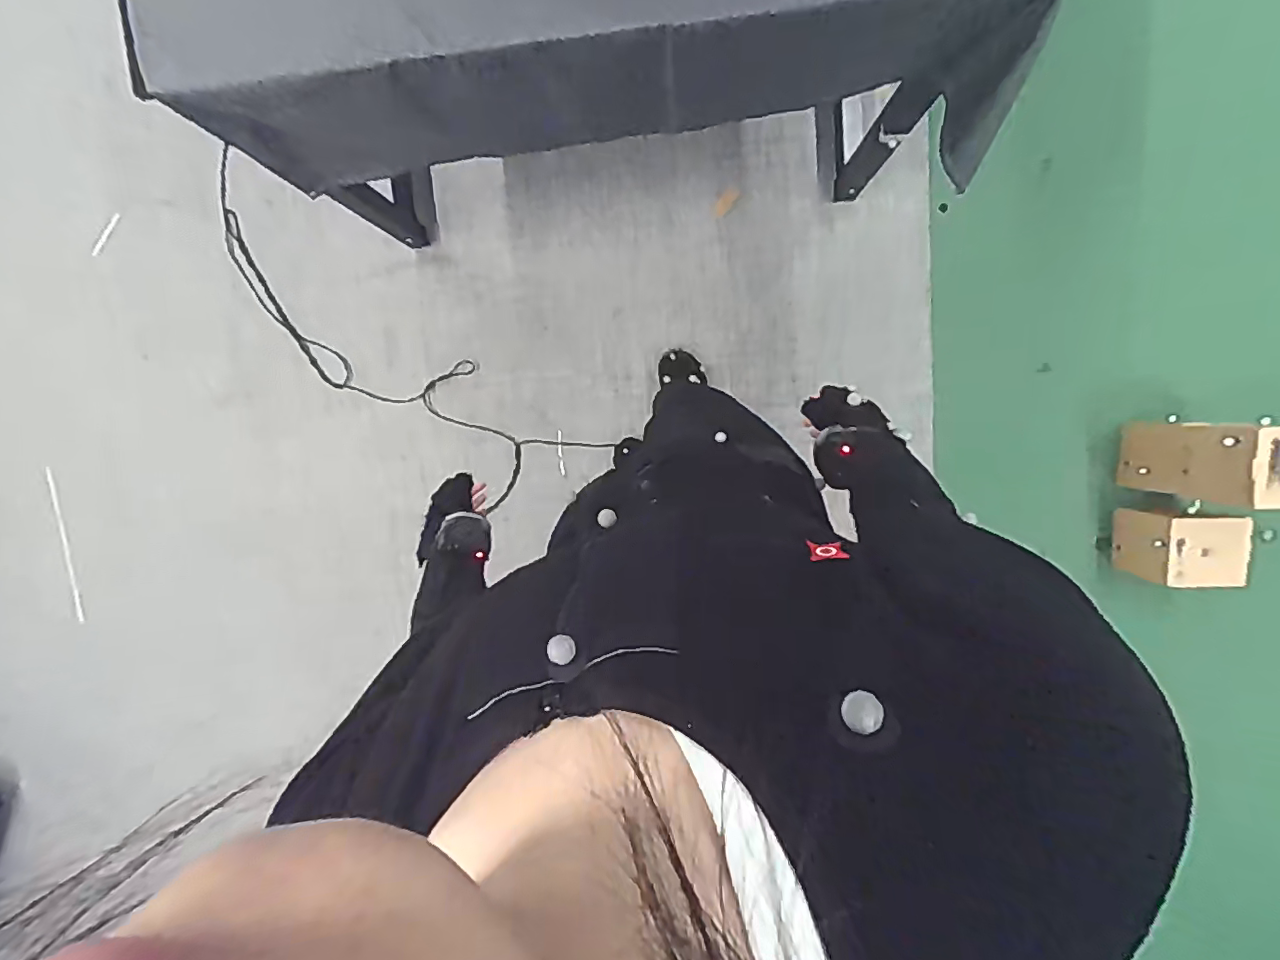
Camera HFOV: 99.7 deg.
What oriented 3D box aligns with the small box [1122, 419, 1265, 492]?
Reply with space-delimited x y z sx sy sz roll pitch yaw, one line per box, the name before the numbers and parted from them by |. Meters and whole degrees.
small box | 1.322 -0.063 1.307 0.179 0.176 0.168 0 97 4
